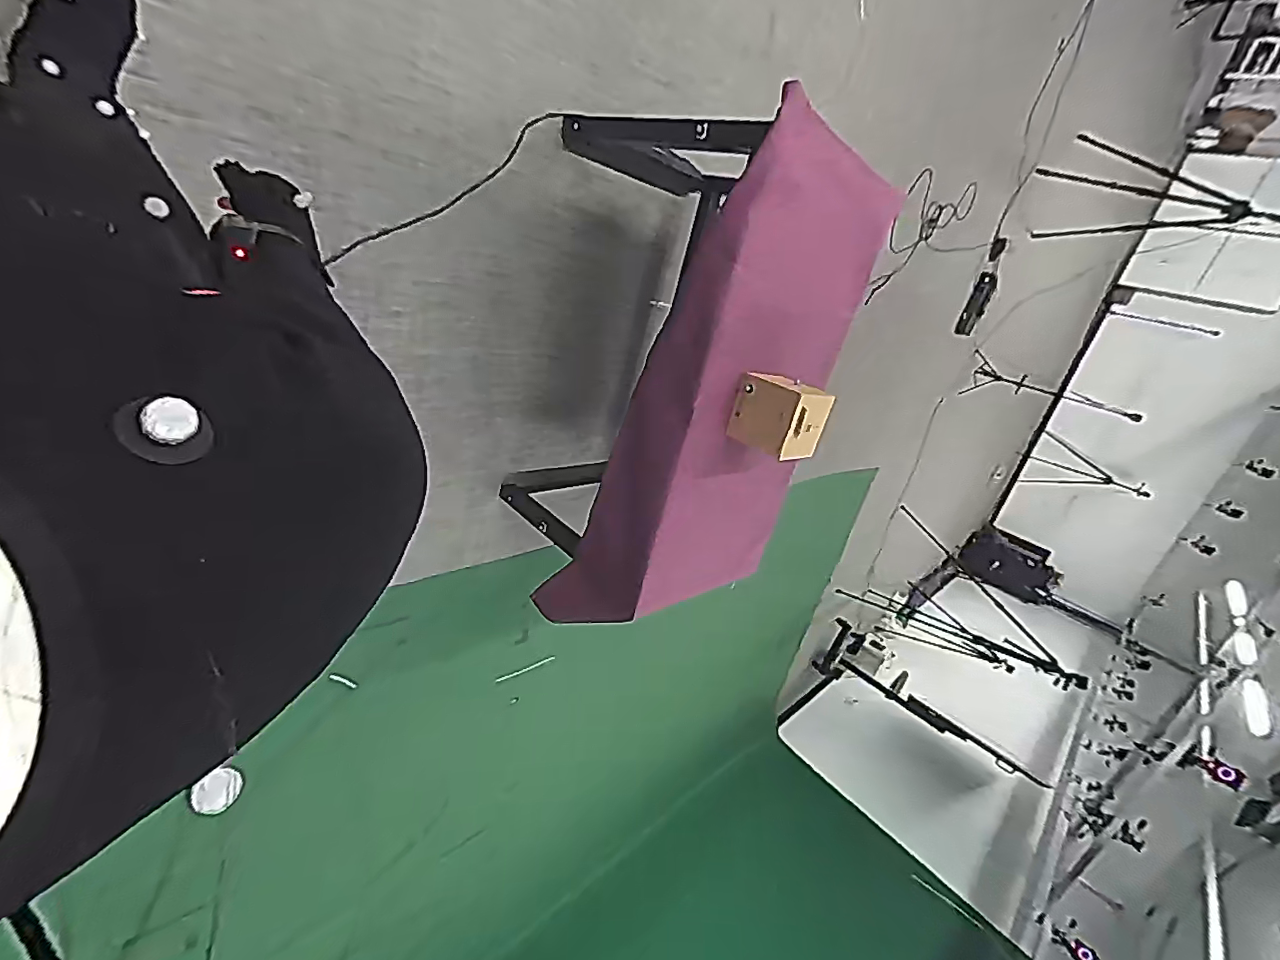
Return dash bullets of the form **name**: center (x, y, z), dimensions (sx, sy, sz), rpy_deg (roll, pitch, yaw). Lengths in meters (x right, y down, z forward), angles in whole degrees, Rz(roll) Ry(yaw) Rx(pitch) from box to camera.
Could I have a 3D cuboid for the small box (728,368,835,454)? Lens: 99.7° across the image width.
- **small box**: center (0.347, -0.174, 1.348), dimensions (0.179, 0.176, 0.168), rpy_deg (-7, 121, -46)
